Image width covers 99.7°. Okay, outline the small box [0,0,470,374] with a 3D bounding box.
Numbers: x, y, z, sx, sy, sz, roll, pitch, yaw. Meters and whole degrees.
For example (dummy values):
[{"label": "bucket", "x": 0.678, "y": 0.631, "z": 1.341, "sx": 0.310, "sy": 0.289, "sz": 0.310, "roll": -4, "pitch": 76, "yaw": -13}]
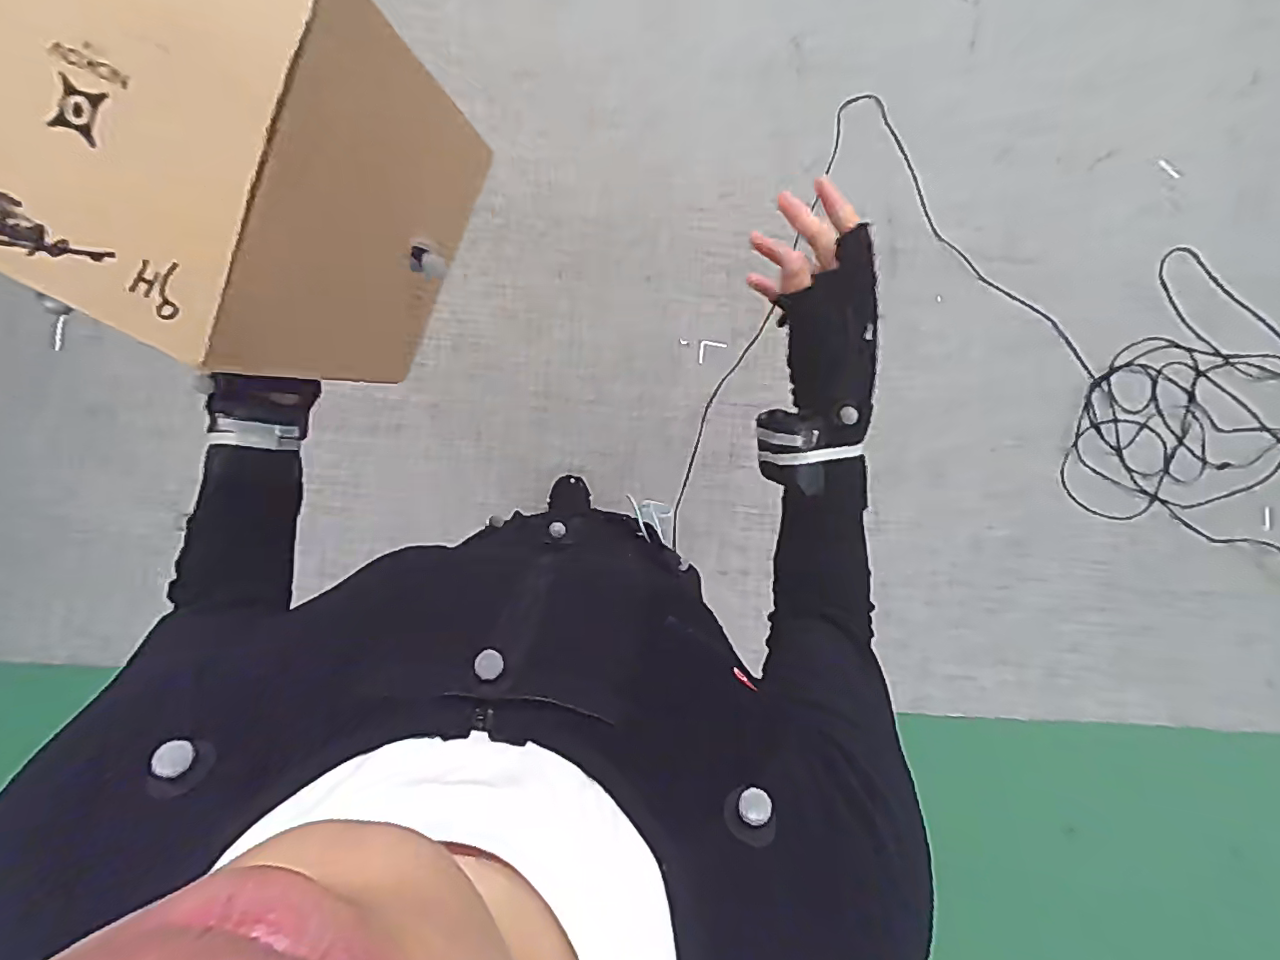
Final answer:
[{"label": "small box", "x": -0.217, "y": -0.173, "z": 0.298, "sx": 0.168, "sy": 0.176, "sz": 0.179, "roll": 26, "pitch": 99, "yaw": 1}]
